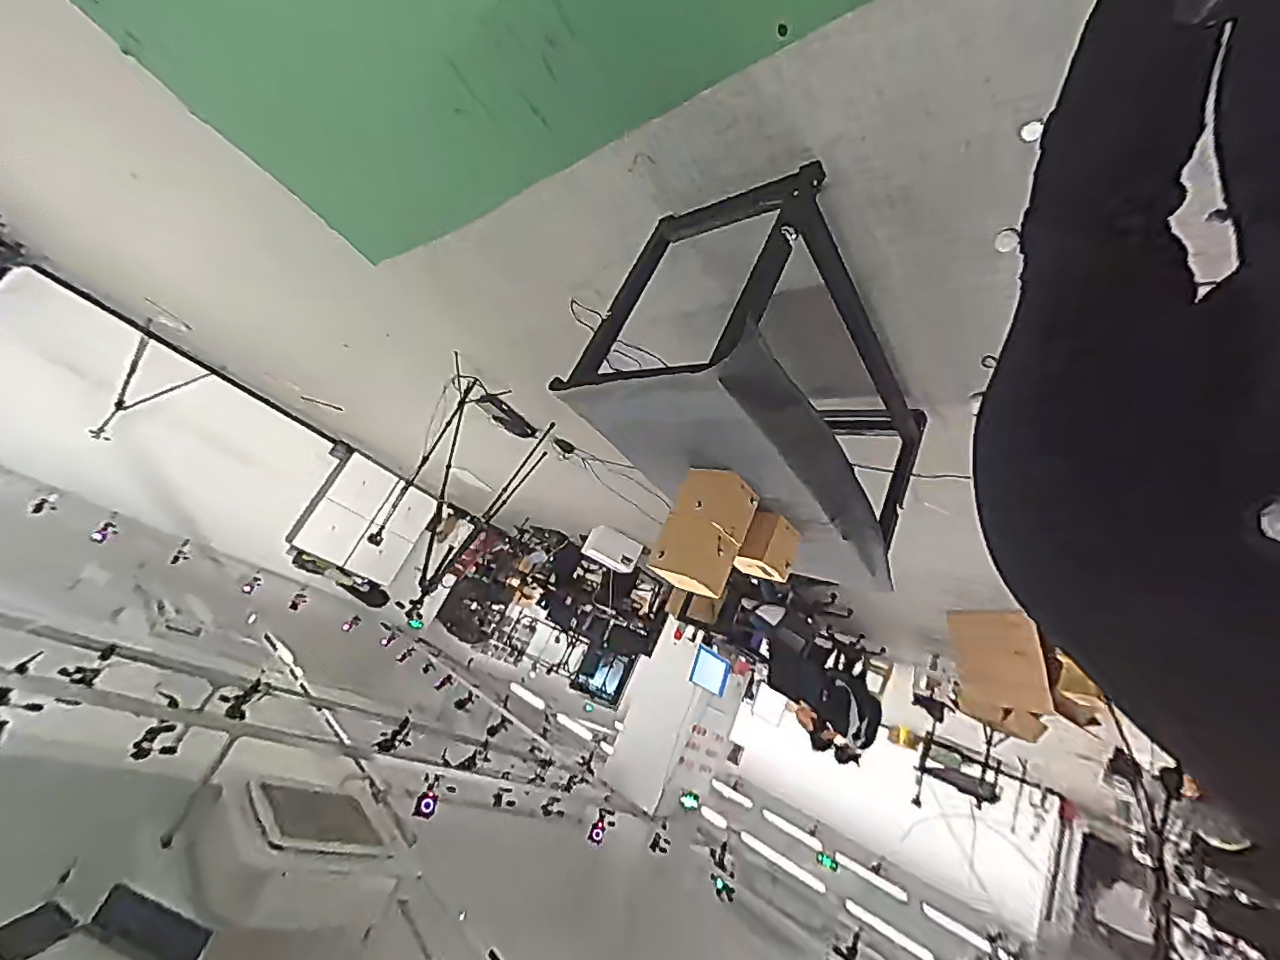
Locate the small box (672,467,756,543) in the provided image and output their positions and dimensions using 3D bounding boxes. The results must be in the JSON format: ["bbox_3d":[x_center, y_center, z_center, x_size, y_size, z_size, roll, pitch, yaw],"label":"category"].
[{"bbox_3d":[0.232,0.072,1.635,0.179,0.176,0.168,7,154,47],"label":"small box"}]

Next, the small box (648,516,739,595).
[{"bbox_3d":[0.162,0.217,1.603,0.179,0.176,0.168,4,153,48],"label":"small box"}]
